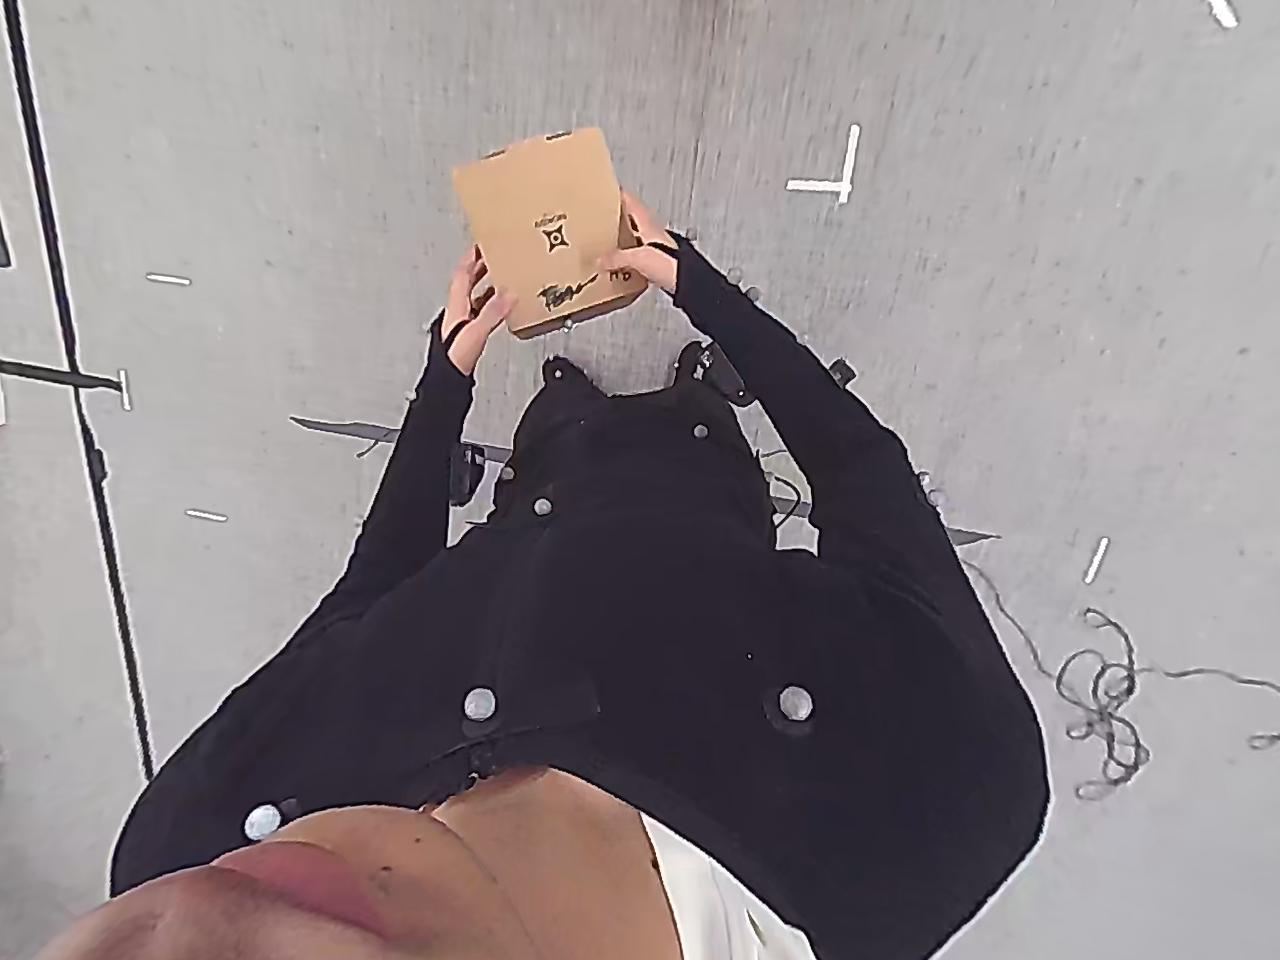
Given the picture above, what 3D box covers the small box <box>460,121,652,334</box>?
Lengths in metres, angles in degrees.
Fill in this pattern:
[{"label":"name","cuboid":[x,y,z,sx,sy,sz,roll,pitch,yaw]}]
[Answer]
[{"label":"small box","cuboid":[-0.099,-0.288,0.656,0.168,0.176,0.179,-19,104,-4]}]
